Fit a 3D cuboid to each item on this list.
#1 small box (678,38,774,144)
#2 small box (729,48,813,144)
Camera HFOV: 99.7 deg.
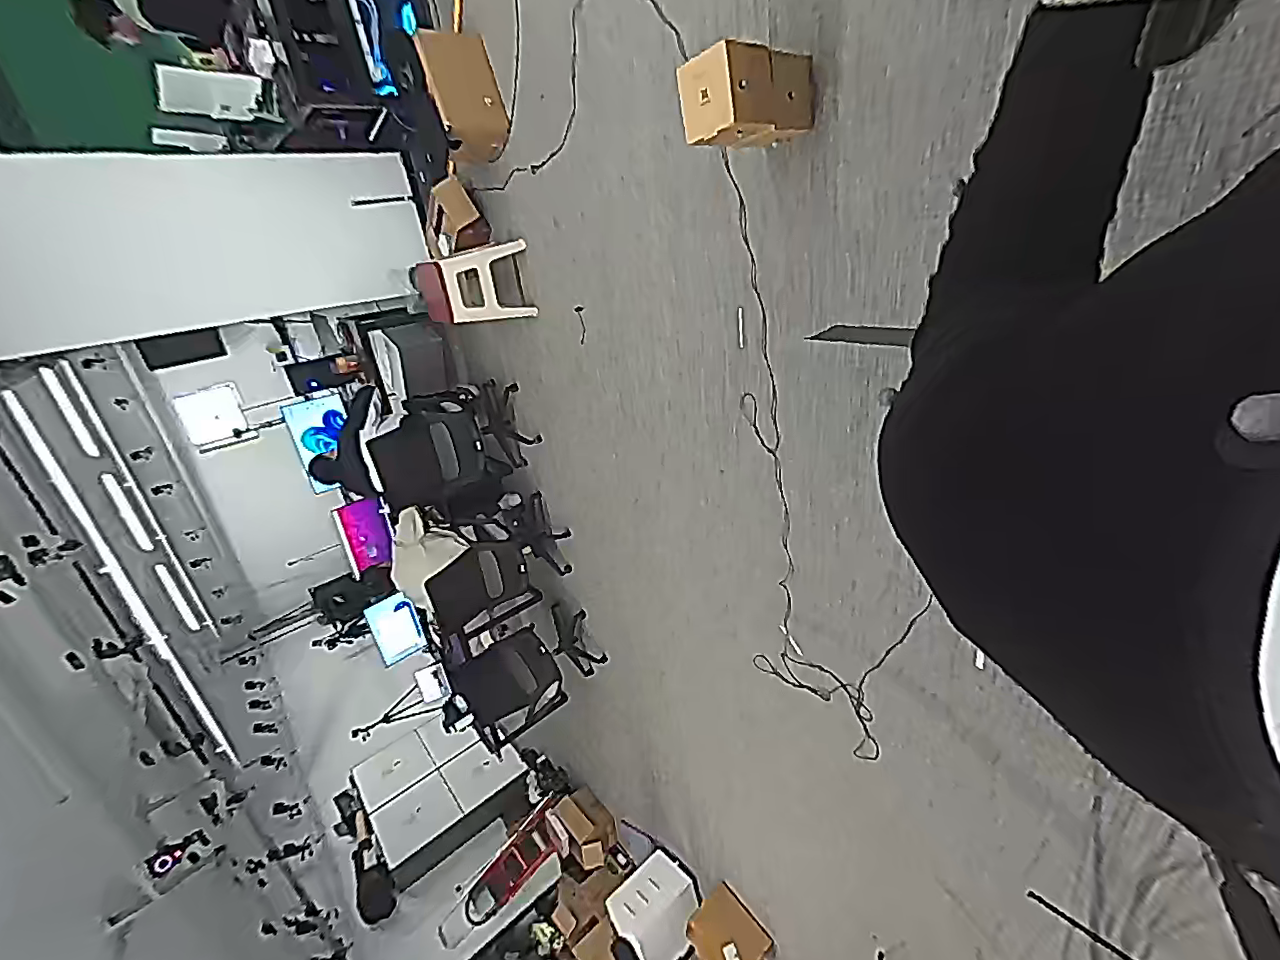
[{"bbox_3d":[0.224,-0.977,1.372,0.168,0.176,0.179,11,119,49],"label":"small box"},{"bbox_3d":[0.349,-1.028,1.463,0.168,0.176,0.179,17,124,49],"label":"small box"}]
